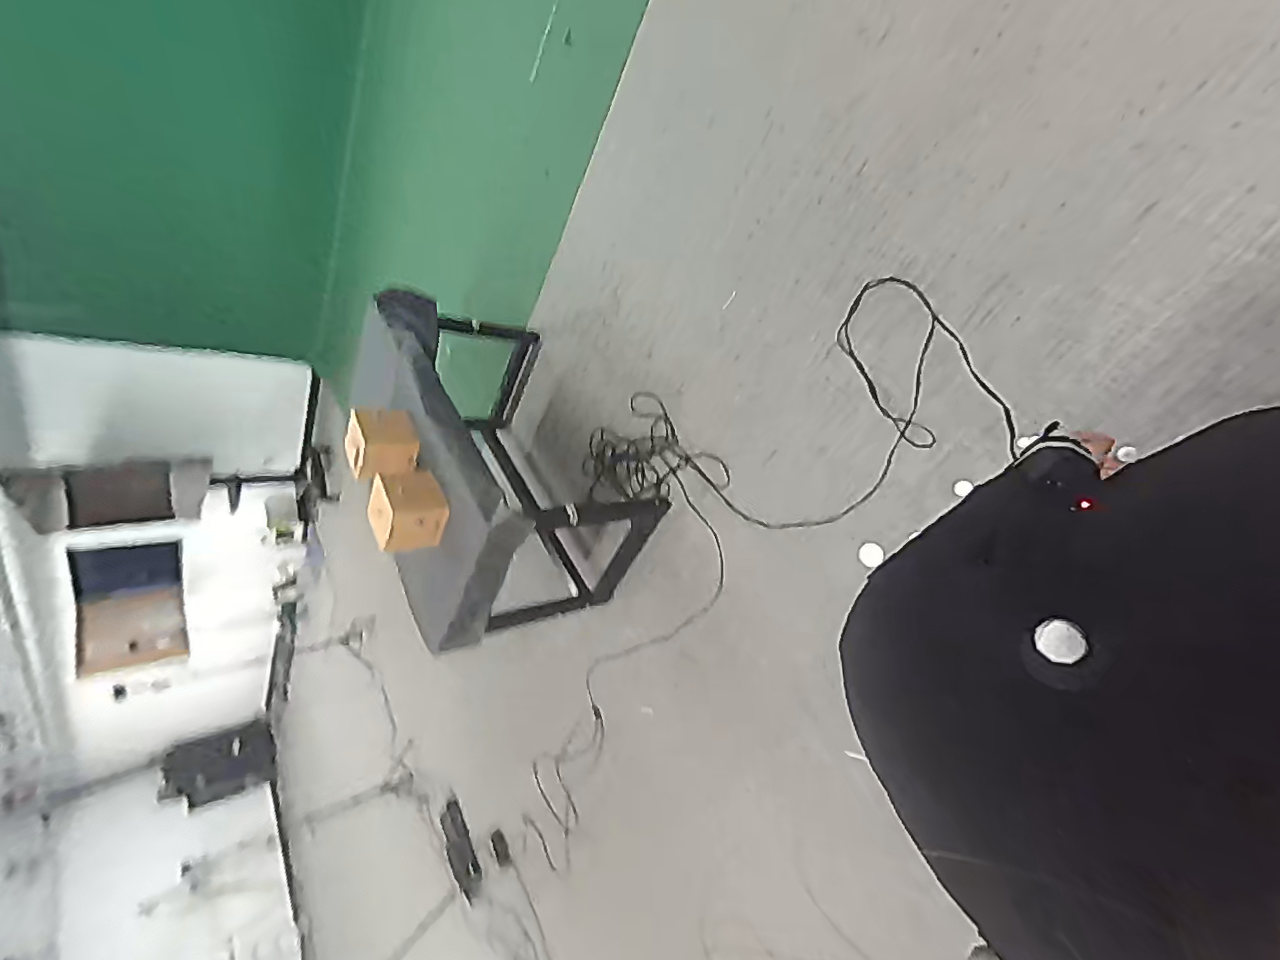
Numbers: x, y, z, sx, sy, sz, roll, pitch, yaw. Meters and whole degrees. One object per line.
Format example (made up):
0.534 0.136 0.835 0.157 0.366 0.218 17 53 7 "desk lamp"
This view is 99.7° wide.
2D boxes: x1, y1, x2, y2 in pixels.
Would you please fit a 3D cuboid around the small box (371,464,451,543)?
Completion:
-0.690 0.064 1.630 0.179 0.176 0.168 53 127 32 "small box"
